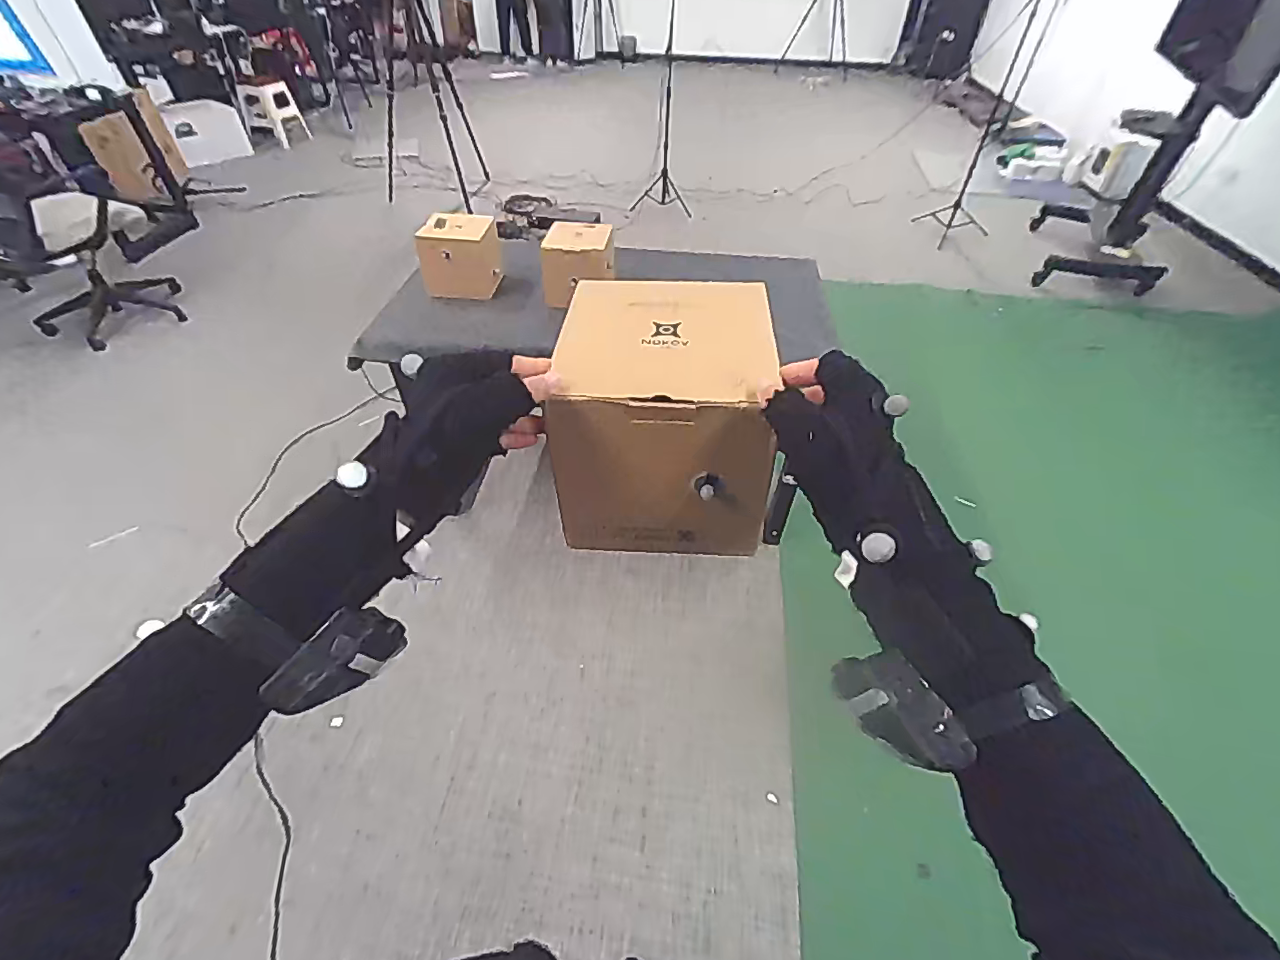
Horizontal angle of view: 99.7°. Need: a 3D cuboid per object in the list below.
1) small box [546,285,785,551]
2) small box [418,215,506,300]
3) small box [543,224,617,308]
[{"bbox_3d":[0.025,-0.054,0.475,0.168,0.176,0.179,2,44,3],"label":"small box"},{"bbox_3d":[-0.485,-0.617,1.505,0.179,0.176,0.168,4,46,1],"label":"small box"},{"bbox_3d":[-0.157,-0.581,1.481,0.168,0.176,0.179,6,46,4],"label":"small box"}]
